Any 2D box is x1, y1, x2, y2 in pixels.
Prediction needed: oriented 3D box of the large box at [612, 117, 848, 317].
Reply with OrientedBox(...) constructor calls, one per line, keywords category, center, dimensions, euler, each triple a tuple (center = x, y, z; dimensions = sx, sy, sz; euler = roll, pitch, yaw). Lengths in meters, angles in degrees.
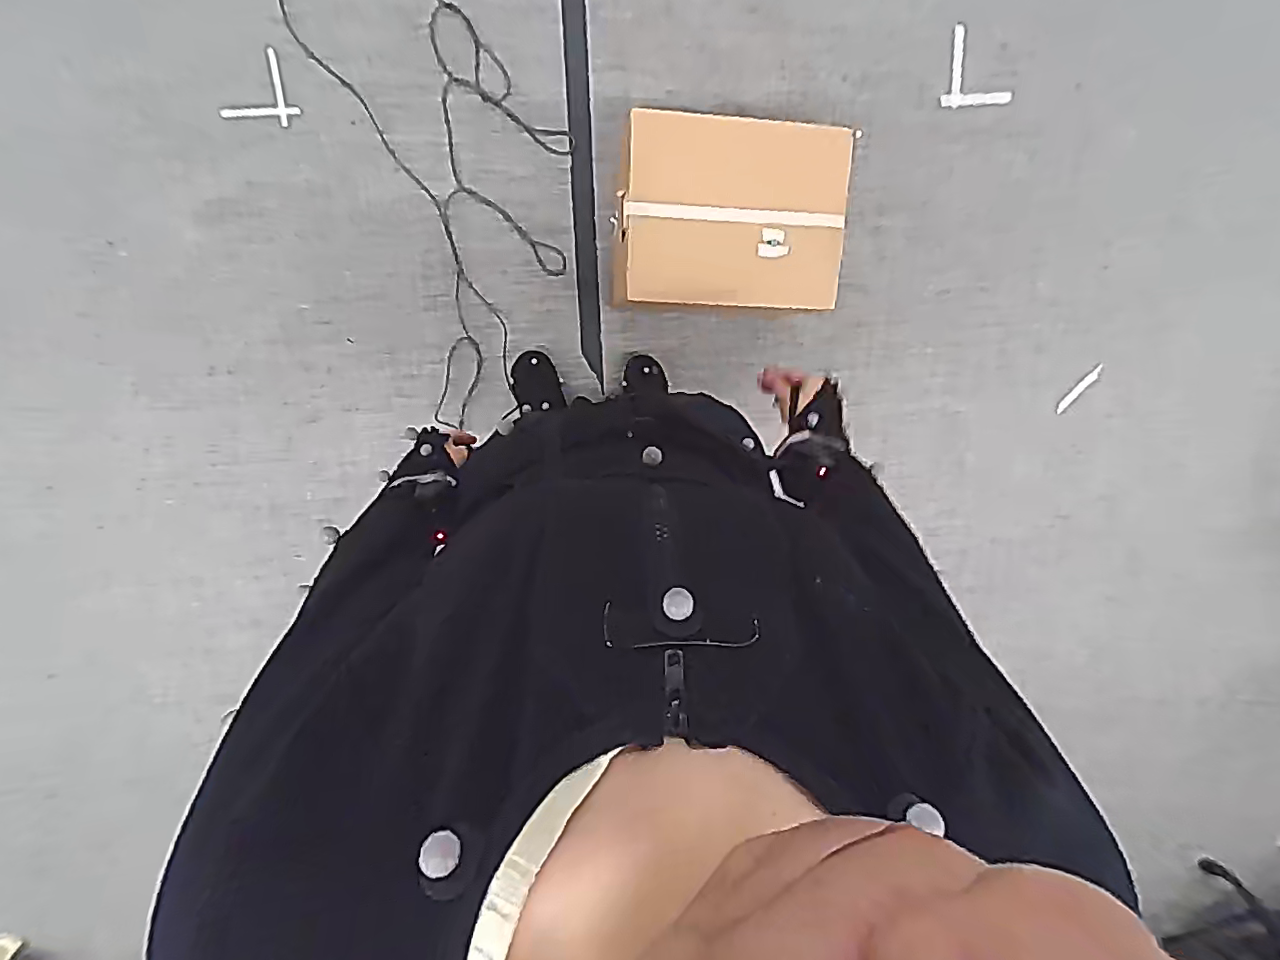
OrientedBox(category="large box", center=(0.154, -0.507, 1.120), dimensions=(0.408, 0.320, 0.320), euler=(-1, 105, -8))
